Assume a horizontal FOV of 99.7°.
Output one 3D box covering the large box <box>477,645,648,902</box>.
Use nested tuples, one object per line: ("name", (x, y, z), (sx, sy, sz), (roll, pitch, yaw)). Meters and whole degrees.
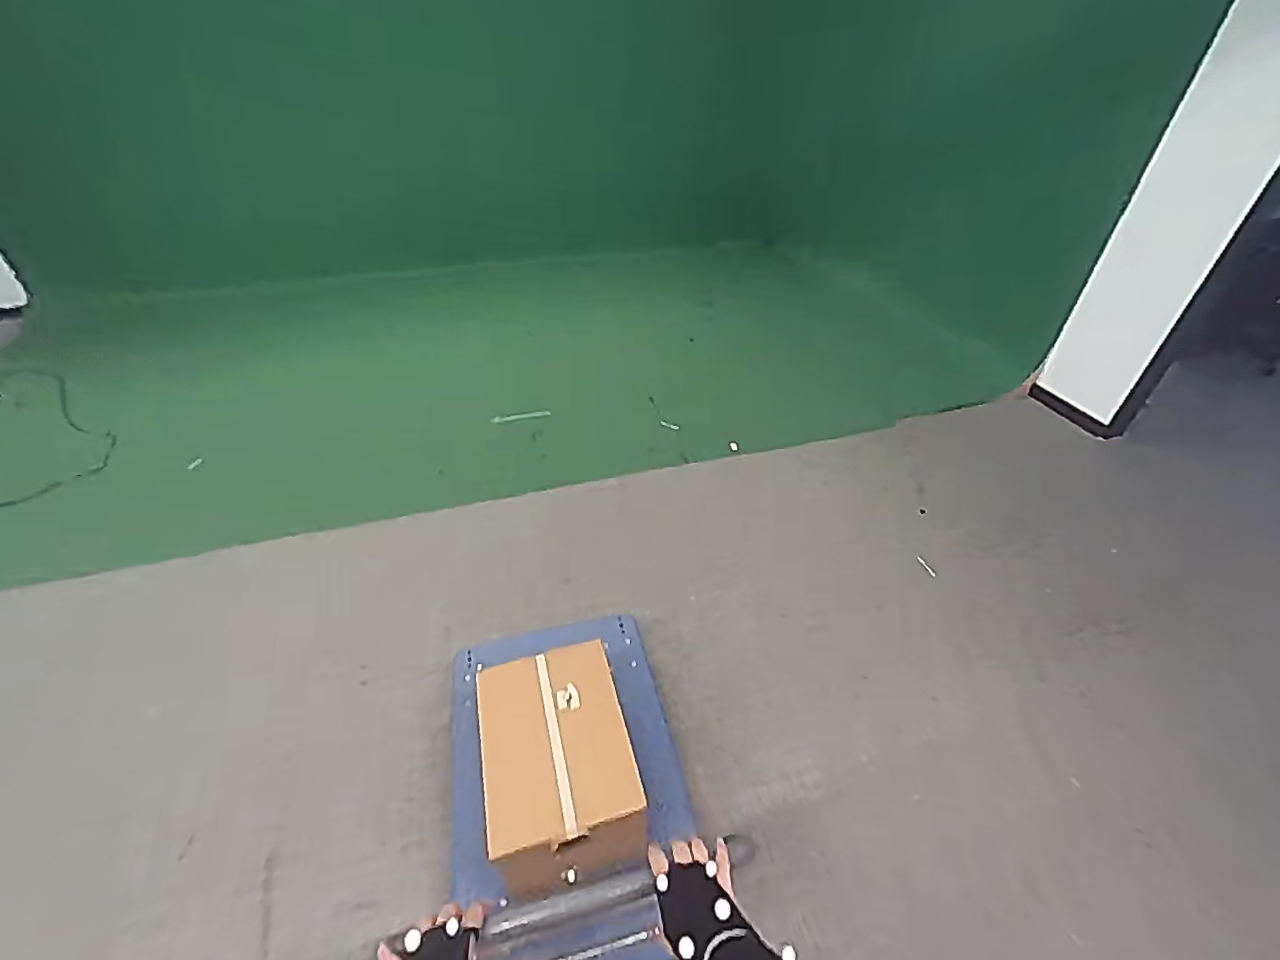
("large box", (-0.186, 0.682, 1.289), (0.320, 0.320, 0.408), (-11, 41, -13))
